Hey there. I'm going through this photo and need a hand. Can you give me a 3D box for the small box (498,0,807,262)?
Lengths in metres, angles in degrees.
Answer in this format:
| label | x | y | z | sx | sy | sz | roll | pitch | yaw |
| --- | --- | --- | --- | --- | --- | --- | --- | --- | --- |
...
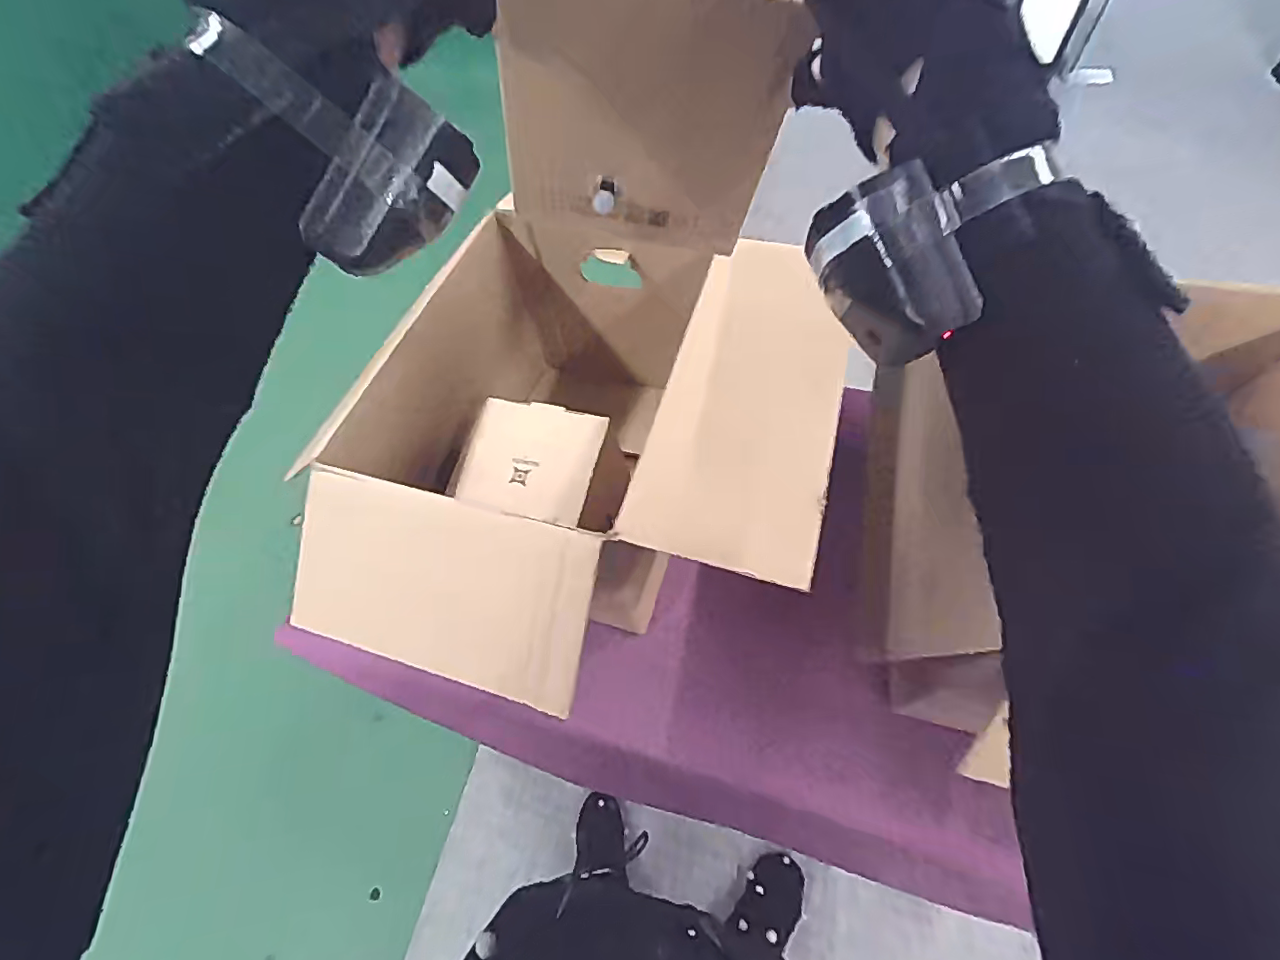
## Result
| label | x | y | z | sx | sy | sz | roll | pitch | yaw |
| --- | --- | --- | --- | --- | --- | --- | --- | --- | --- |
| small box | 0.003 | -0.288 | 0.375 | 0.168 | 0.176 | 0.179 | 7 | 68 | -4 |
